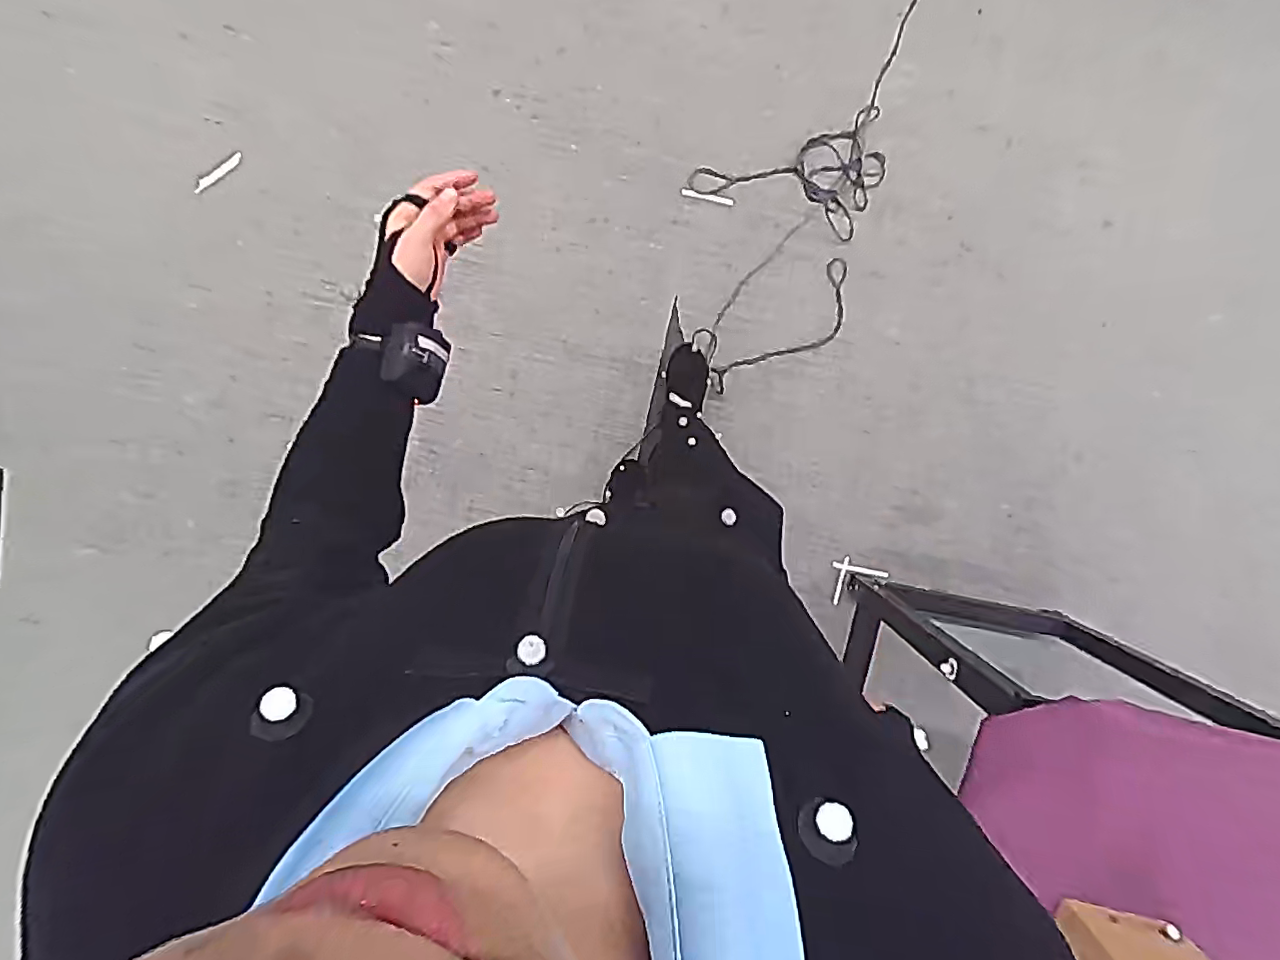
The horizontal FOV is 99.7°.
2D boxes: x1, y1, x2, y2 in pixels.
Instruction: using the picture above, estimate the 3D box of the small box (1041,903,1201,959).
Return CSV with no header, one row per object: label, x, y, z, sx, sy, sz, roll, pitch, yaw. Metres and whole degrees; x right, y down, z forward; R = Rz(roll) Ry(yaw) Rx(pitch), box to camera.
small box,0.669,0.716,0.714,0.168,0.176,0.179,13,97,2
